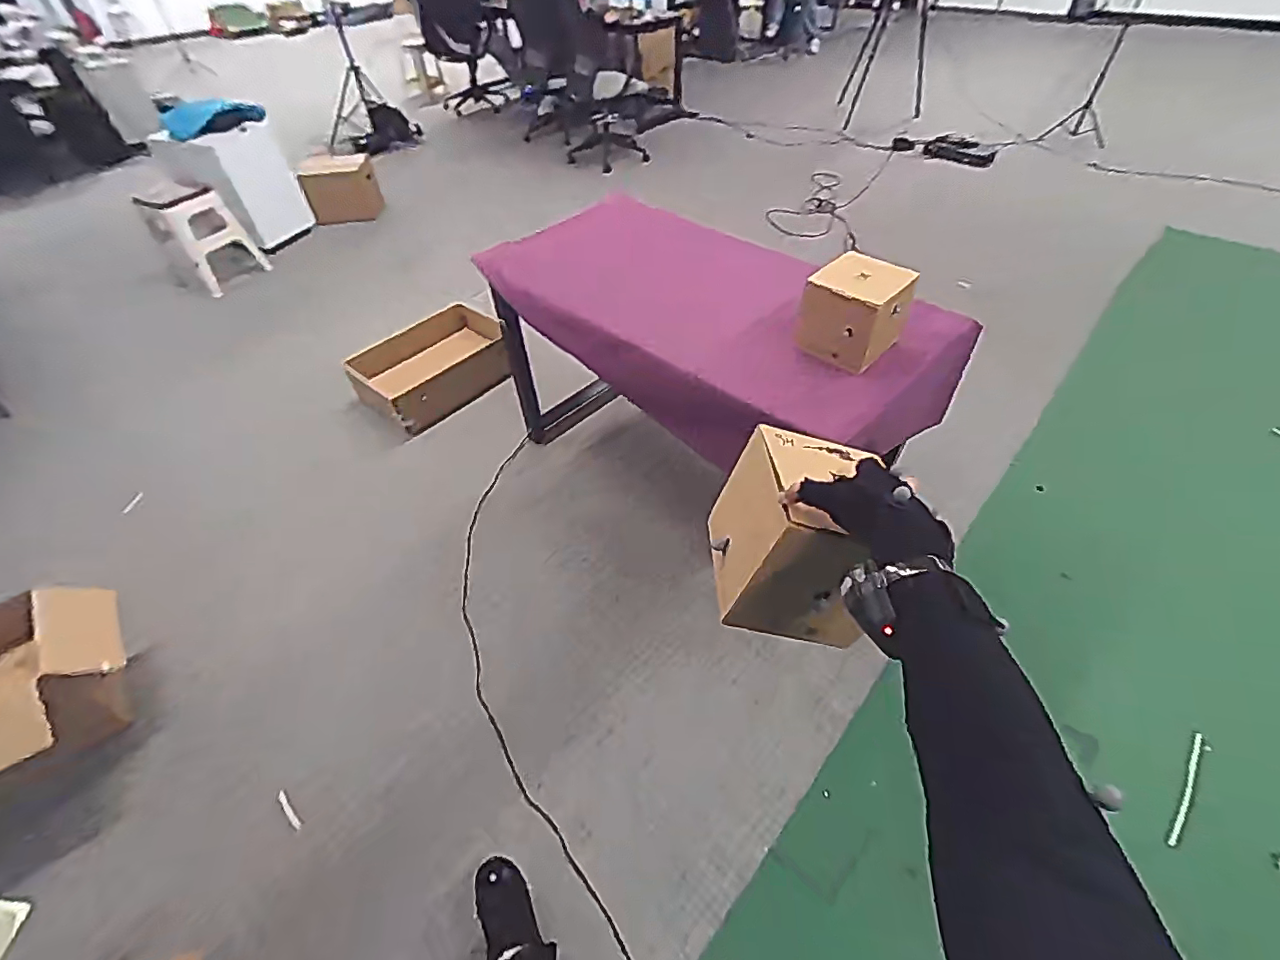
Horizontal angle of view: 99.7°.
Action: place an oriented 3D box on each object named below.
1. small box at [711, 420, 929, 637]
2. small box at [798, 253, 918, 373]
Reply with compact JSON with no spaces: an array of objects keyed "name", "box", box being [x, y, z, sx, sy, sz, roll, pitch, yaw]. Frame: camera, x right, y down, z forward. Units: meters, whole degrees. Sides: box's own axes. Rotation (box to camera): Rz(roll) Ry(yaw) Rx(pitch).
[{"name":"small box","box":[0.194,0.061,0.643,0.168,0.176,0.179,14,39,-10]},{"name":"small box","box":[0.462,-0.361,1.175,0.168,0.176,0.179,35,58,29]}]
